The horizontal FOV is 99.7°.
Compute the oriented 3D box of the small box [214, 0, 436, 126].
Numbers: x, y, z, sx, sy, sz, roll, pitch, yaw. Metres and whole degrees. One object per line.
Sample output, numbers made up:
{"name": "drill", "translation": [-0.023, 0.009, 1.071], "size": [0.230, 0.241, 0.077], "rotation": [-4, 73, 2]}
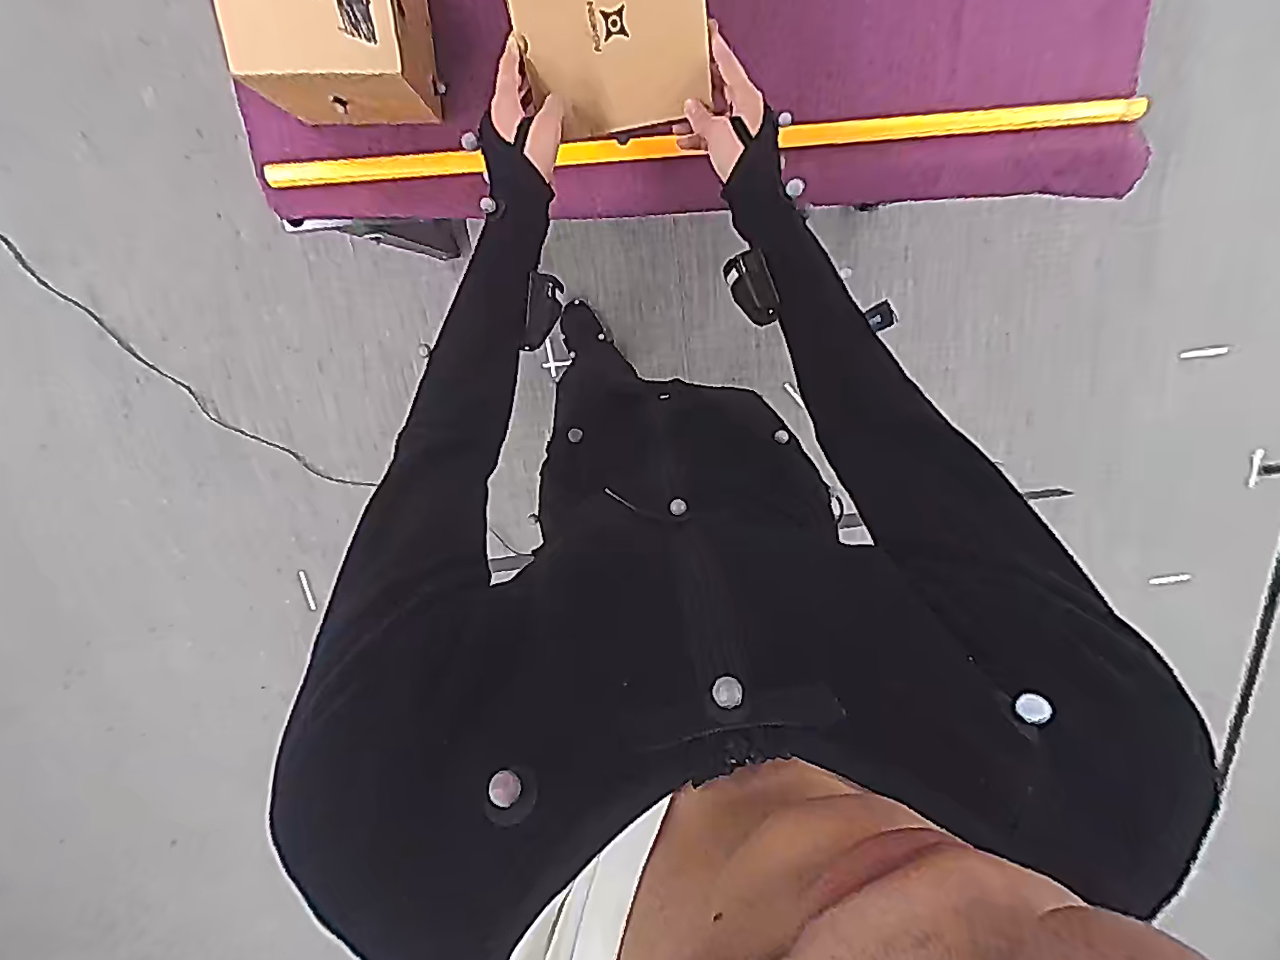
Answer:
{"name": "small box", "translation": [-0.342, -0.517, 0.609], "size": [0.179, 0.176, 0.168], "rotation": [-4, 109, -4]}

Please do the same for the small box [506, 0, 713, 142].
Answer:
{"name": "small box", "translation": [-0.027, -0.463, 0.541], "size": [0.179, 0.176, 0.168], "rotation": [-7, 130, 8]}
